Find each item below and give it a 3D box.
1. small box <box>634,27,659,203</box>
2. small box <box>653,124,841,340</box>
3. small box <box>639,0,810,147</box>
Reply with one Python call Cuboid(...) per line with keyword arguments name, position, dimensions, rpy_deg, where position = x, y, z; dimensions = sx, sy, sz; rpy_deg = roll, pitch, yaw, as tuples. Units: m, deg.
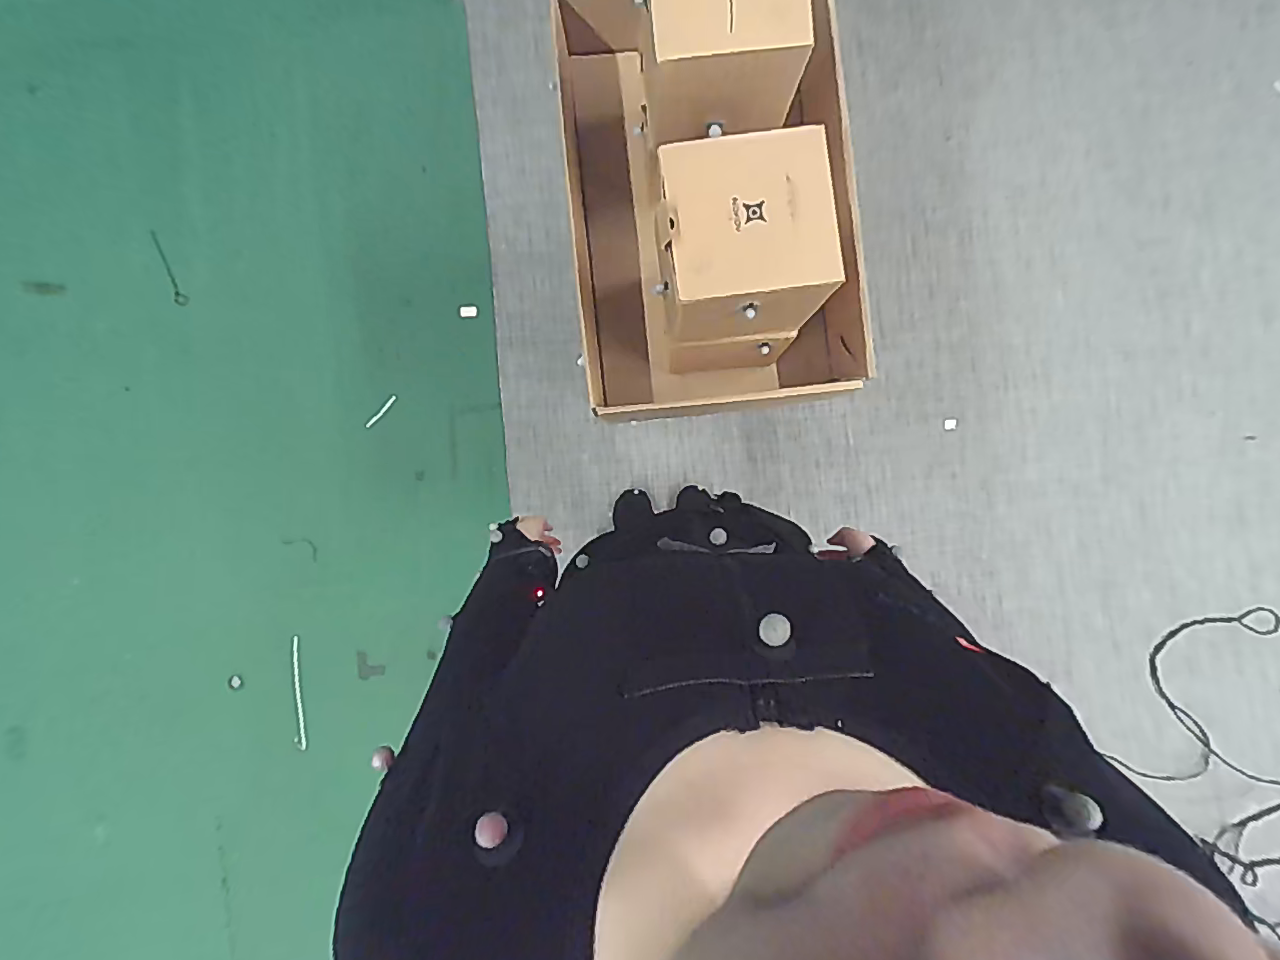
Cuboid(name="small box", position=(0.088, -0.531, 0.798), dimensions=(0.179, 0.176, 0.168), rpy_deg=(-5, 91, 1))
Cuboid(name="small box", position=(0.112, -0.273, 0.635), dimensions=(0.179, 0.176, 0.168), rpy_deg=(-8, 89, 0))
Cuboid(name="small box", position=(0.087, -0.524, 0.633), dimensions=(0.168, 0.176, 0.179), rpy_deg=(-6, 92, 1))
